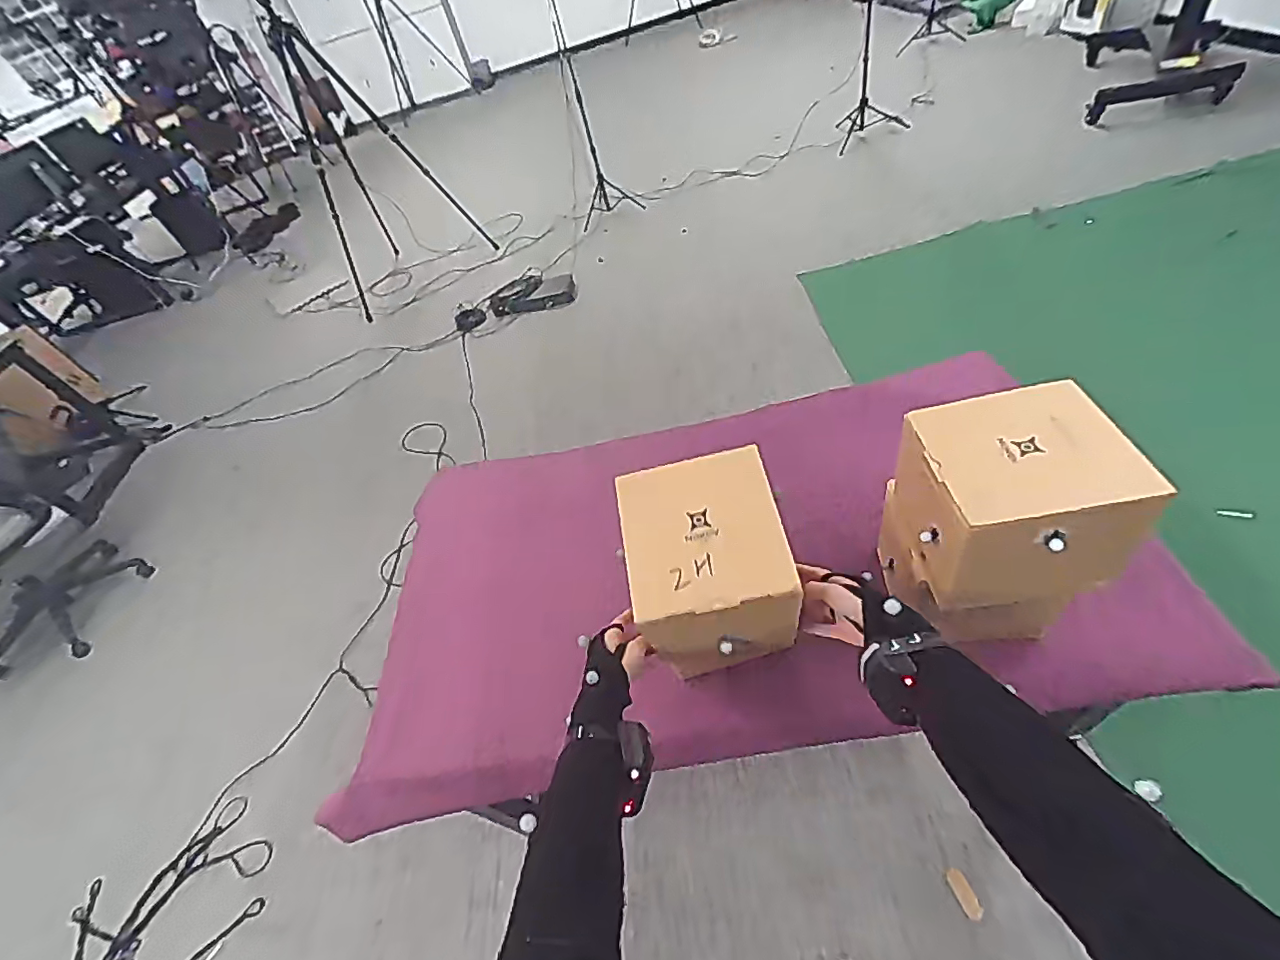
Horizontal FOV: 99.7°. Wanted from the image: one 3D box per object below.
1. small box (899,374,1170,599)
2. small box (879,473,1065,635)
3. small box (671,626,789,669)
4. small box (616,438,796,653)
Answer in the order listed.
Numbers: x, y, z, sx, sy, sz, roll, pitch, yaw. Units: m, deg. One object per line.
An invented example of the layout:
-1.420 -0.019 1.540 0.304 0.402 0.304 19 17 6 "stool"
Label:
0.400 0.015 0.595 0.179 0.176 0.168 -11 47 10 "small box"
0.438 0.098 0.733 0.179 0.176 0.168 -7 47 14 "small box"
0.106 0.154 0.776 0.179 0.176 0.168 -18 56 1 "small box"
0.075 0.081 0.630 0.168 0.176 0.179 -13 56 6 "small box"
